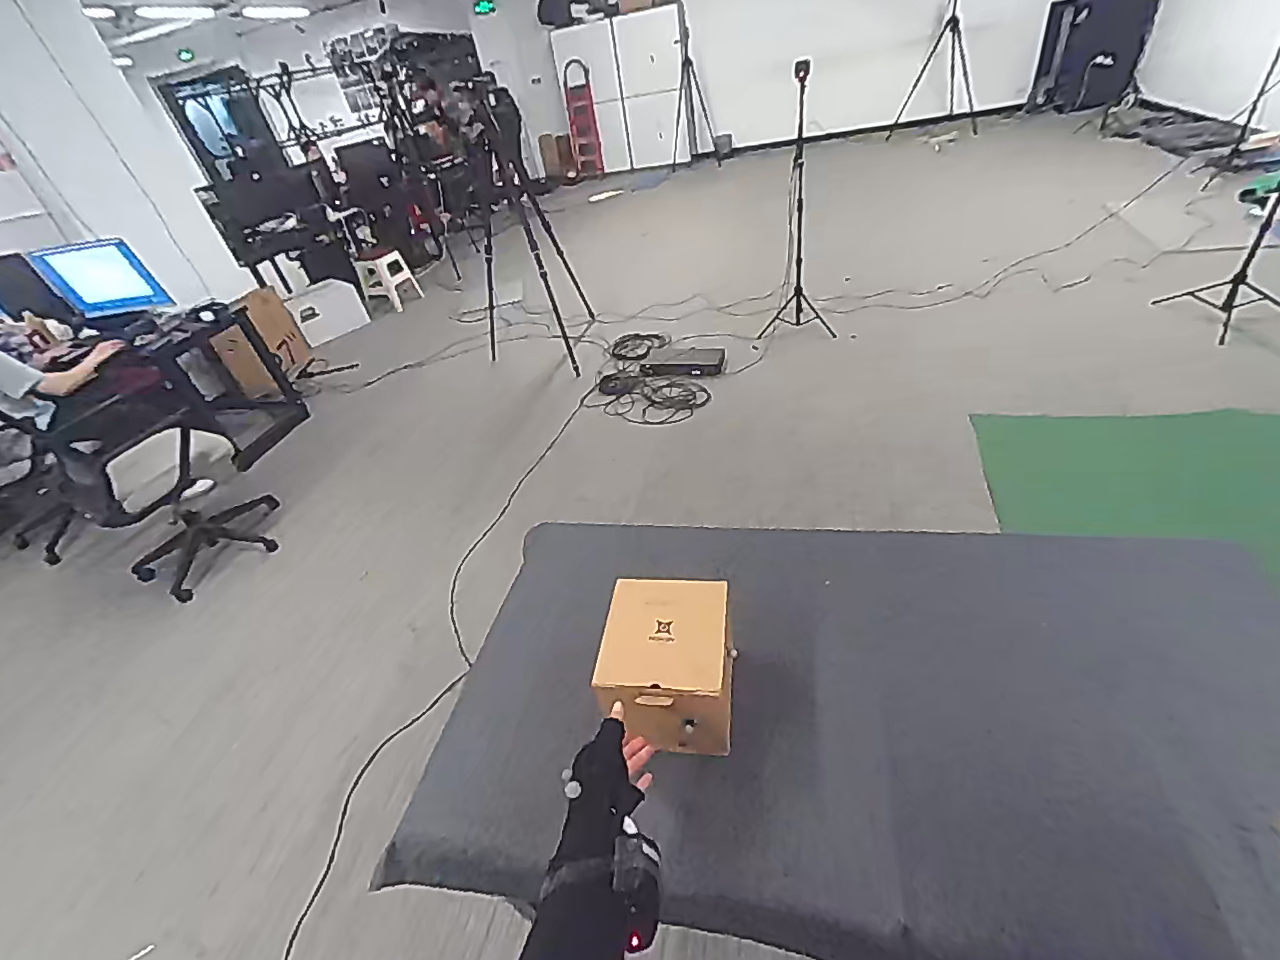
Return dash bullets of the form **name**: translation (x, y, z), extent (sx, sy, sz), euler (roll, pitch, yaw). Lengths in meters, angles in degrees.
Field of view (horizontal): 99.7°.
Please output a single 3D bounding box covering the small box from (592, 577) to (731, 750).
- **small box**: translation (0.043, 0.261, 0.776), extent (0.168, 0.176, 0.179), euler (0, 38, 12)
